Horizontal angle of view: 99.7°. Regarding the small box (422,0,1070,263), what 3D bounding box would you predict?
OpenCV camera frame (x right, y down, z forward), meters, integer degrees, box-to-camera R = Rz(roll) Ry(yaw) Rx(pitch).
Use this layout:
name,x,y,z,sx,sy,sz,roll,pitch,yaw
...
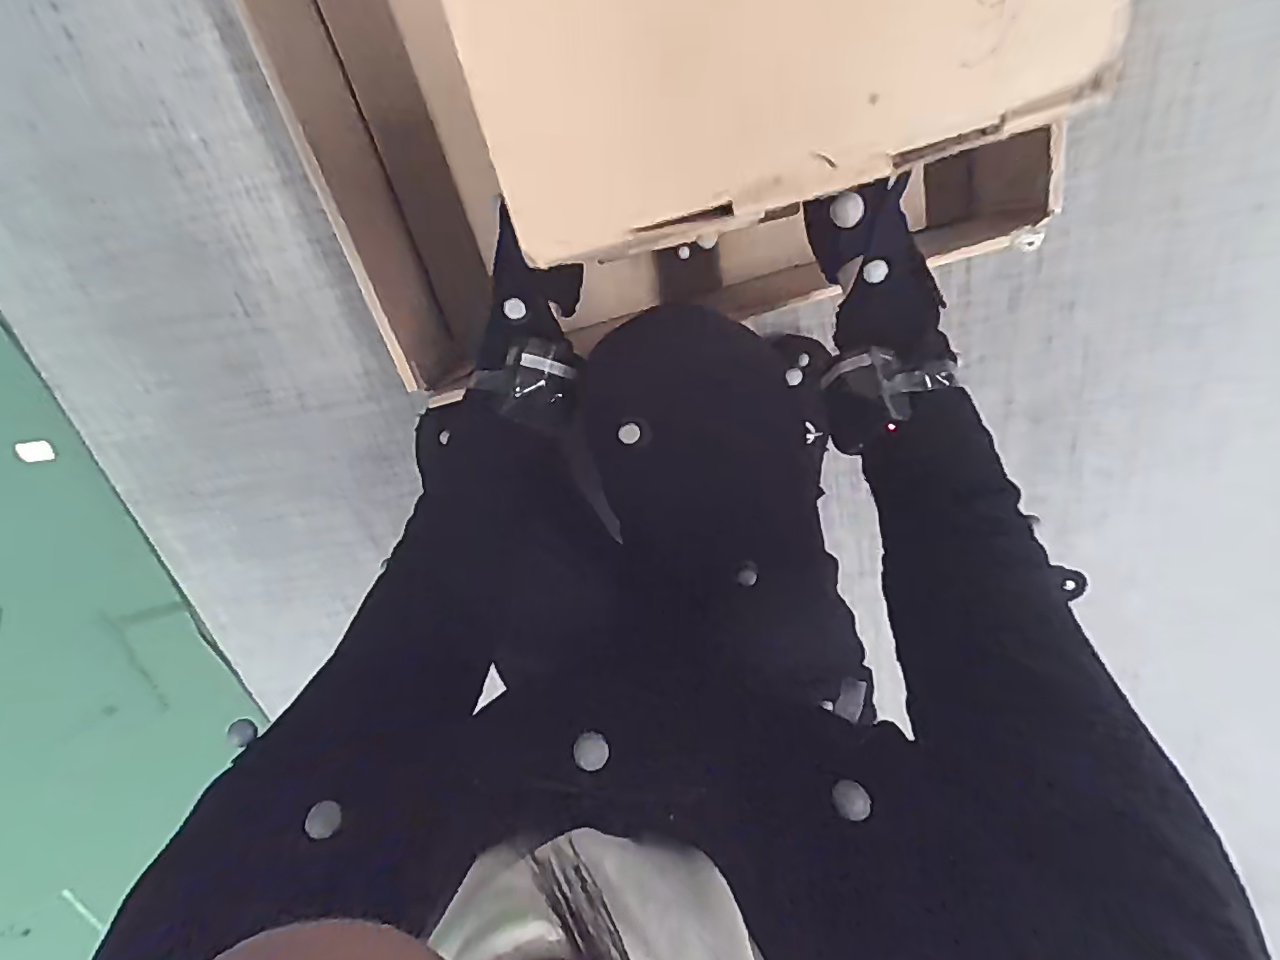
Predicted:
name,x,y,z,sx,sy,sz,roll,pitch,yaw
small box,0.017,-0.191,0.199,0.168,0.176,0.179,-14,111,5

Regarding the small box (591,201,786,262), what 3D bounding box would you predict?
name,x,y,z,sx,sy,sz,roll,pitch,yaw
small box,0.026,-0.315,0.518,0.179,0.176,0.168,-11,112,5
